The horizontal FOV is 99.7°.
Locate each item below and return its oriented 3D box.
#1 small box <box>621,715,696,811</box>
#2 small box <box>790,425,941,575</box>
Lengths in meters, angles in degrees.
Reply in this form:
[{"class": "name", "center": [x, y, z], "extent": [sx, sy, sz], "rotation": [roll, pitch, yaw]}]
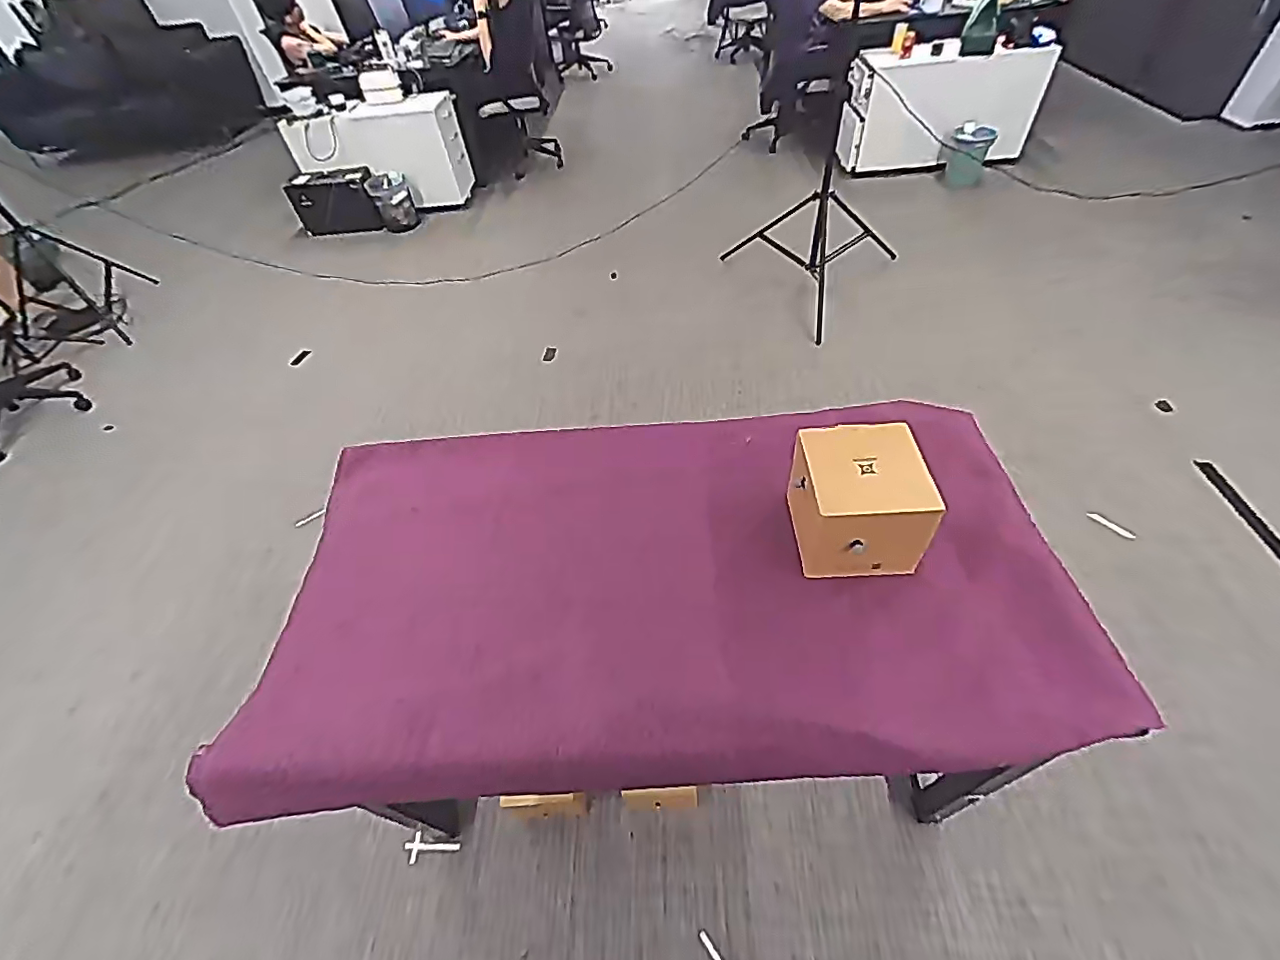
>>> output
[{"class": "small box", "center": [0.049, 0.677, 1.289], "extent": [0.168, 0.176, 0.179], "rotation": [-2, 48, 4]}, {"class": "small box", "center": [0.336, 0.038, 0.846], "extent": [0.168, 0.176, 0.179], "rotation": [-4, 47, 5]}]
